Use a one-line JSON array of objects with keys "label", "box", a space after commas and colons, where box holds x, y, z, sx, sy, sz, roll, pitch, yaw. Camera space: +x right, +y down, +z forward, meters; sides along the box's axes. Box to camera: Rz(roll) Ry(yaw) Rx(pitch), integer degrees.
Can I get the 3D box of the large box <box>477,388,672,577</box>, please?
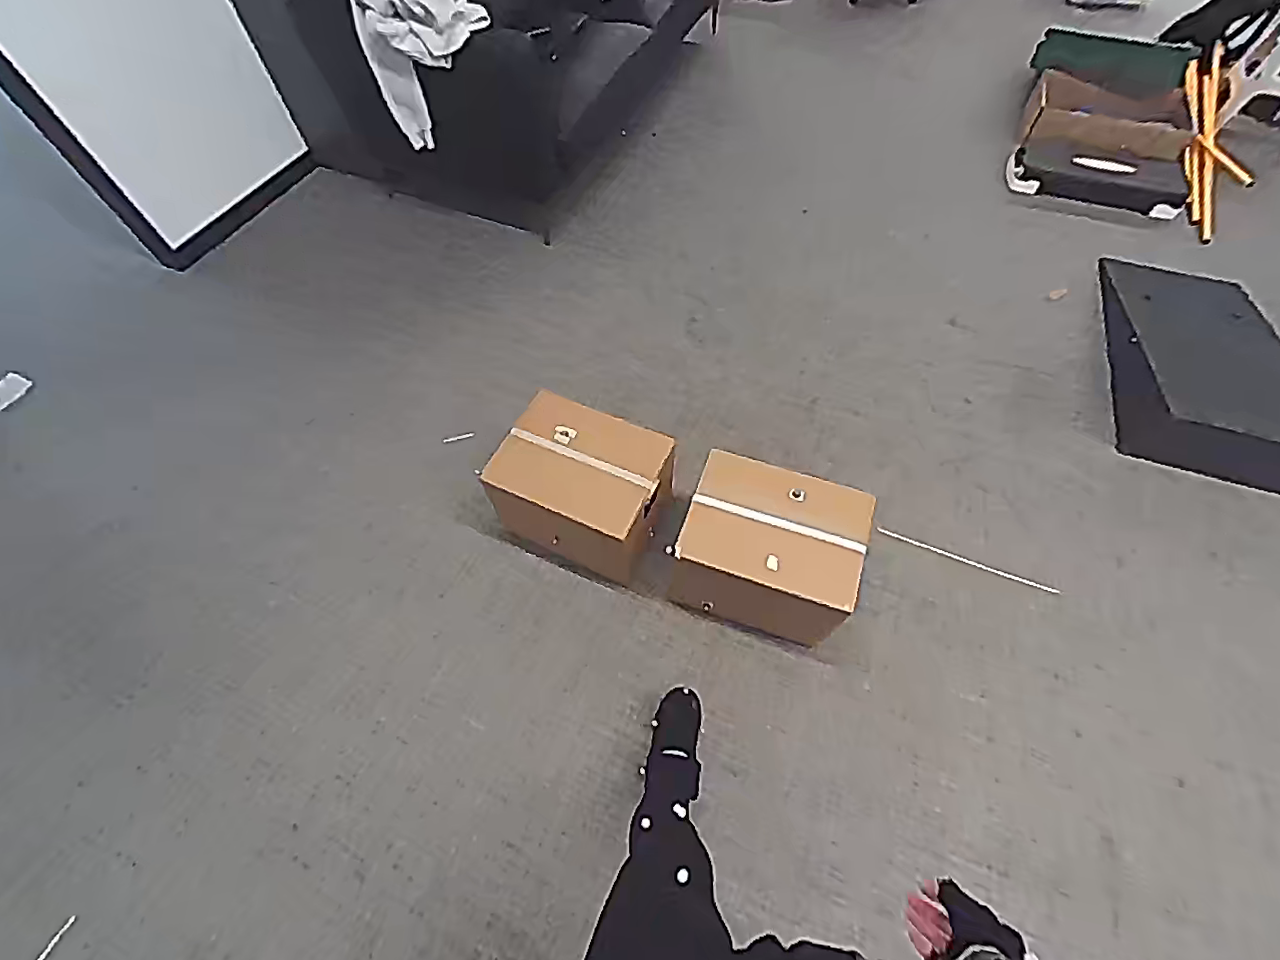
[{"label": "large box", "box": [-0.151, 0.013, 1.471, 0.408, 0.320, 0.320, 21, 62, 14]}]
